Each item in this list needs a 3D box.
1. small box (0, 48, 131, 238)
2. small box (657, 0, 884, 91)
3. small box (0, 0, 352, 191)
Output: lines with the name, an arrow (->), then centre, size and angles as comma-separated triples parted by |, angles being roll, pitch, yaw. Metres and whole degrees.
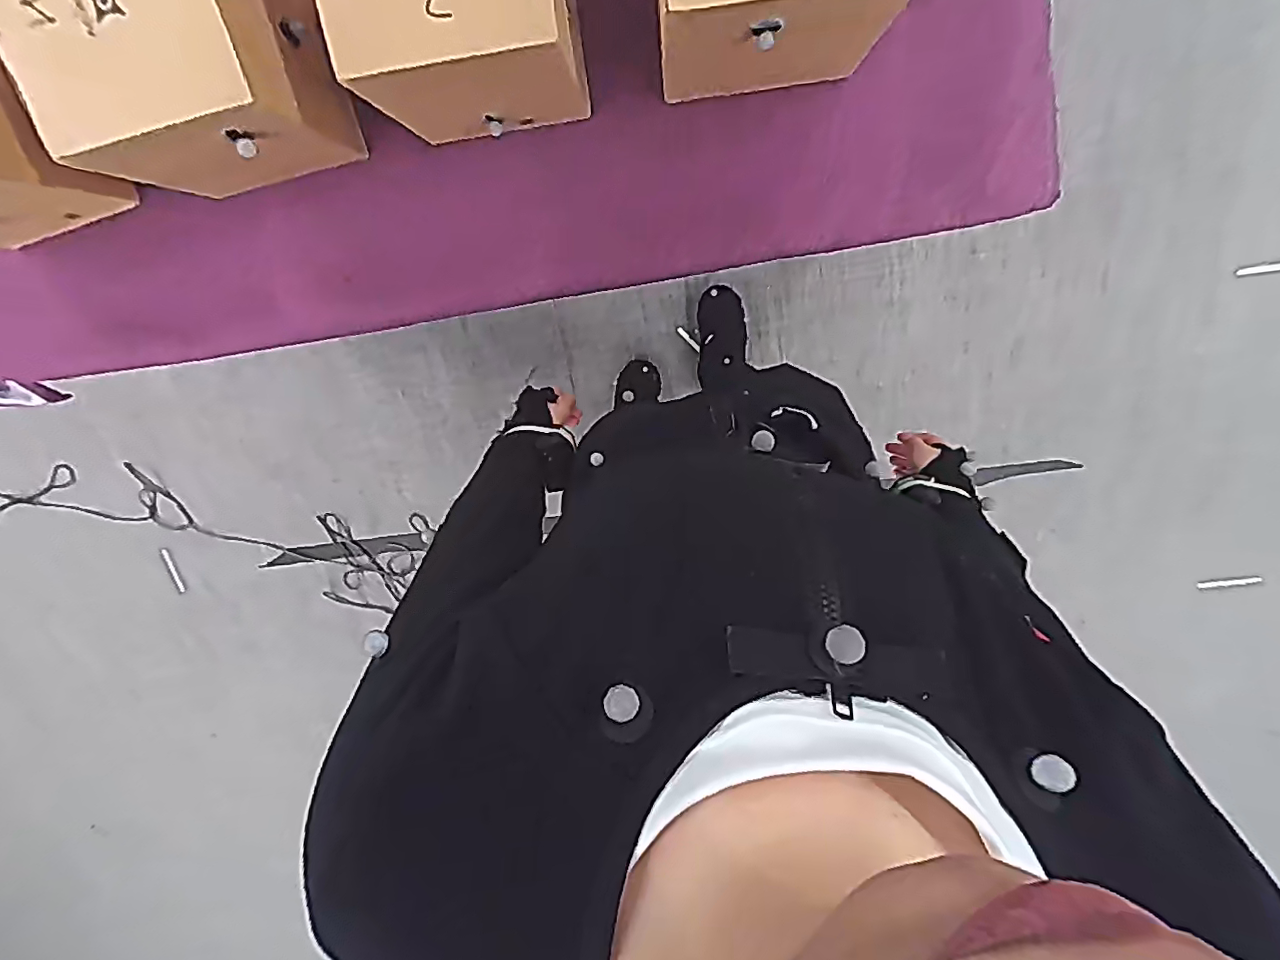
small box -> -0.631, -0.328, 0.482 | 0.168, 0.176, 0.179 | -14, 107, 7
small box -> 0.096, -0.426, 0.409 | 0.179, 0.176, 0.168 | -5, 107, 4
small box -> -0.378, -0.364, 0.455 | 0.179, 0.176, 0.168 | -11, 107, 6
